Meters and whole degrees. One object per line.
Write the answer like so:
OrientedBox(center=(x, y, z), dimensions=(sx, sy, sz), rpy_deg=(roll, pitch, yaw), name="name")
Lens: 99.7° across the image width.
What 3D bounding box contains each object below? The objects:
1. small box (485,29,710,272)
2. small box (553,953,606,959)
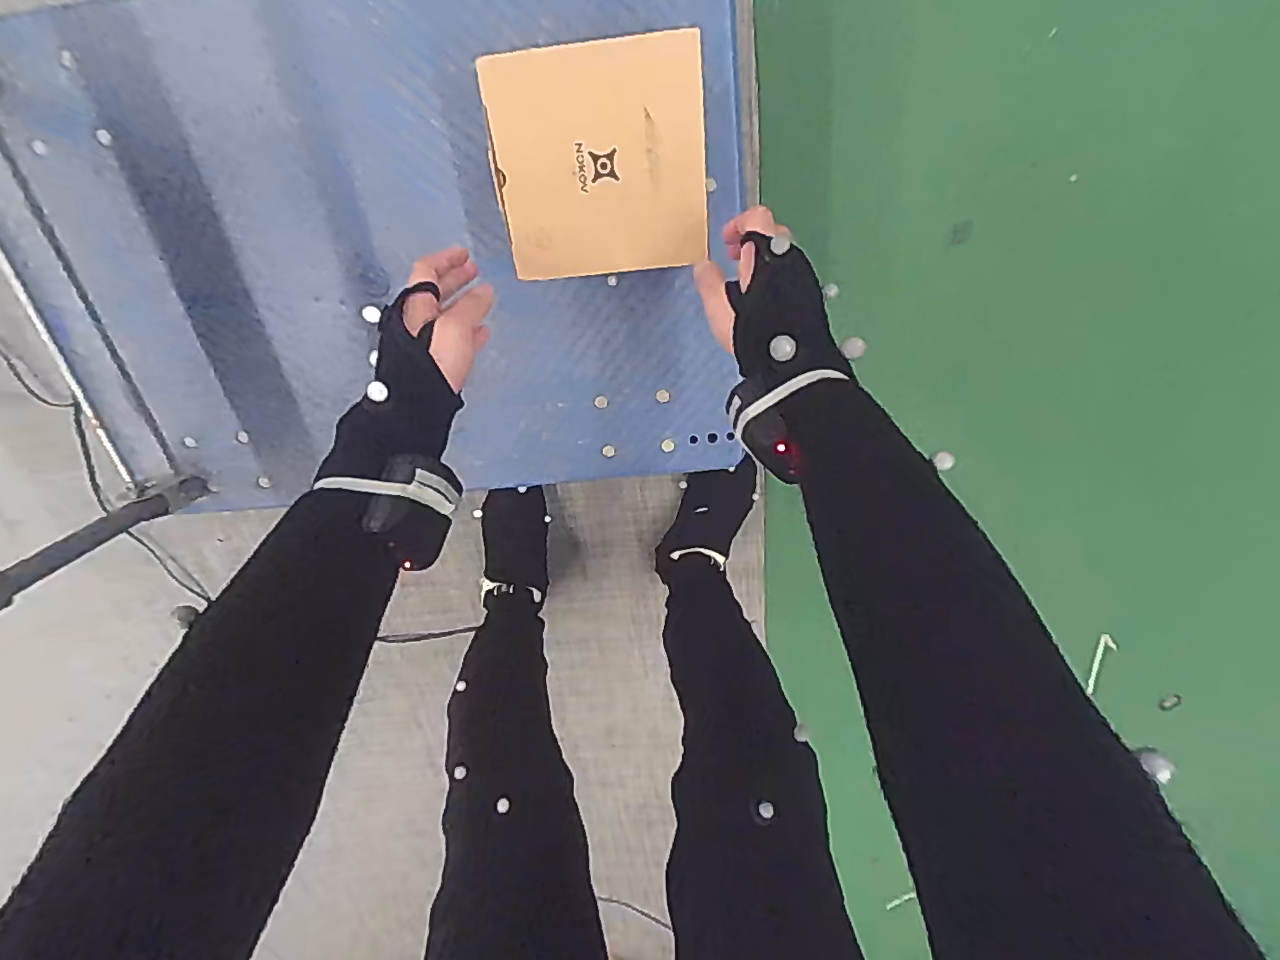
OrientedBox(center=(-0.025, -0.297, 0.518), dimensions=(0.179, 0.176, 0.168), rpy_deg=(-3, 116, 5), name="small box")
OrientedBox(center=(-0.186, 1.561, 1.622), dimensions=(0.168, 0.176, 0.179), rpy_deg=(0, 117, 3), name="small box")
